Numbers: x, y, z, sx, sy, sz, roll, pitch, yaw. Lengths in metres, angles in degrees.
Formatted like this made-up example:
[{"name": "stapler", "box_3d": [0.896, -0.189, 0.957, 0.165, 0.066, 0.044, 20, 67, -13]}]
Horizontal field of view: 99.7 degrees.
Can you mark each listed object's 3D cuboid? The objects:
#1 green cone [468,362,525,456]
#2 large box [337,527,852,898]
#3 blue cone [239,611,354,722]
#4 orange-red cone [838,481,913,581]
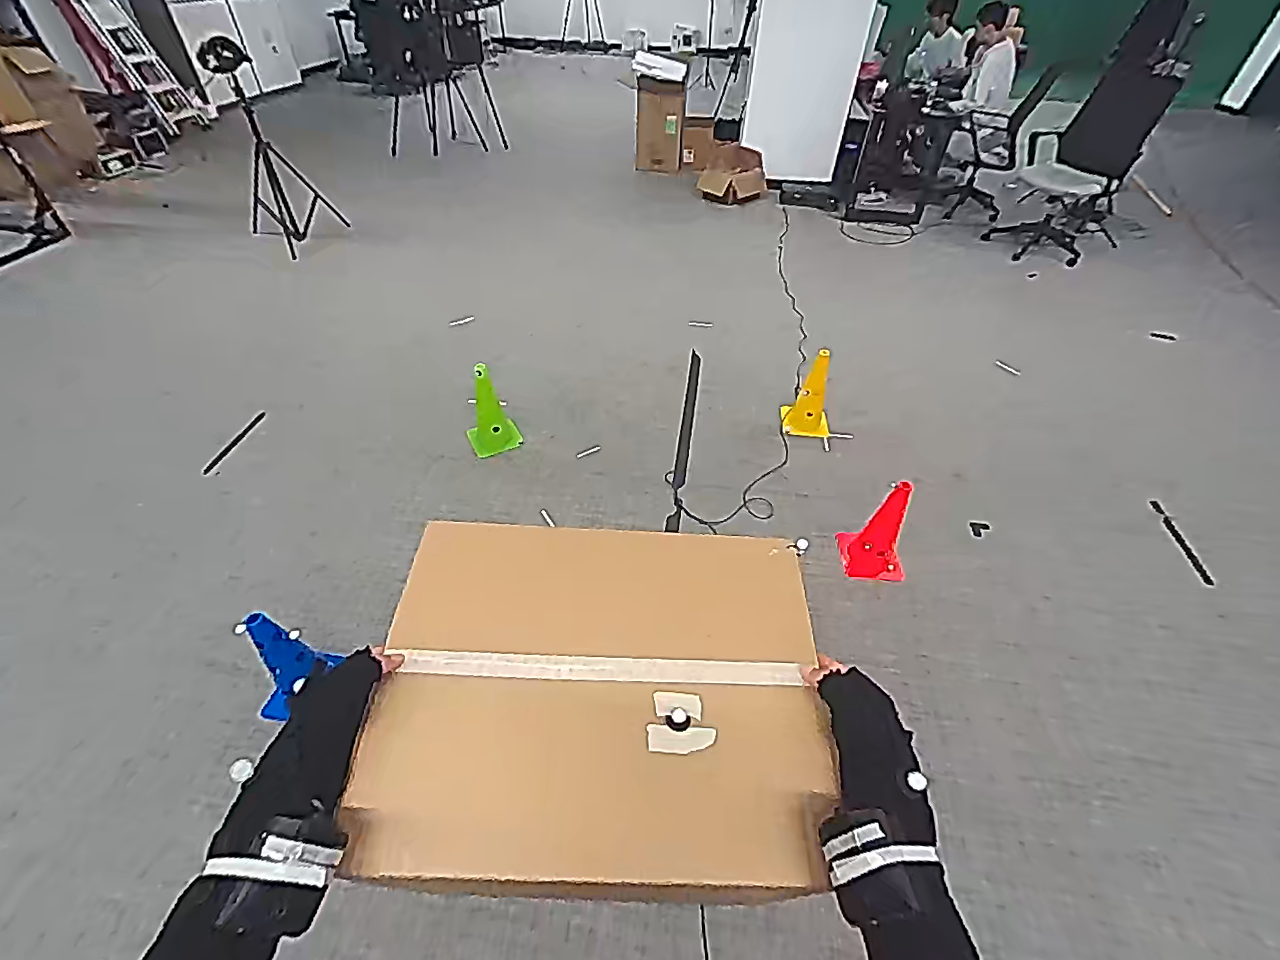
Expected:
[{"name": "green cone", "box_3d": [-0.608, -0.311, 2.171, 0.202, 0.368, 0.200, -22, 49, -20]}, {"name": "large box", "box_3d": [-0.041, 0.274, 0.618, 0.408, 0.320, 0.320, 4, 50, -2]}, {"name": "blue cone", "box_3d": [-0.918, 0.458, 1.401, 0.192, 0.380, 0.193, 8, 45, 8]}, {"name": "orange-red cone", "box_3d": [0.805, 0.140, 1.767, 0.198, 0.360, 0.199, 6, 43, 2]}]
